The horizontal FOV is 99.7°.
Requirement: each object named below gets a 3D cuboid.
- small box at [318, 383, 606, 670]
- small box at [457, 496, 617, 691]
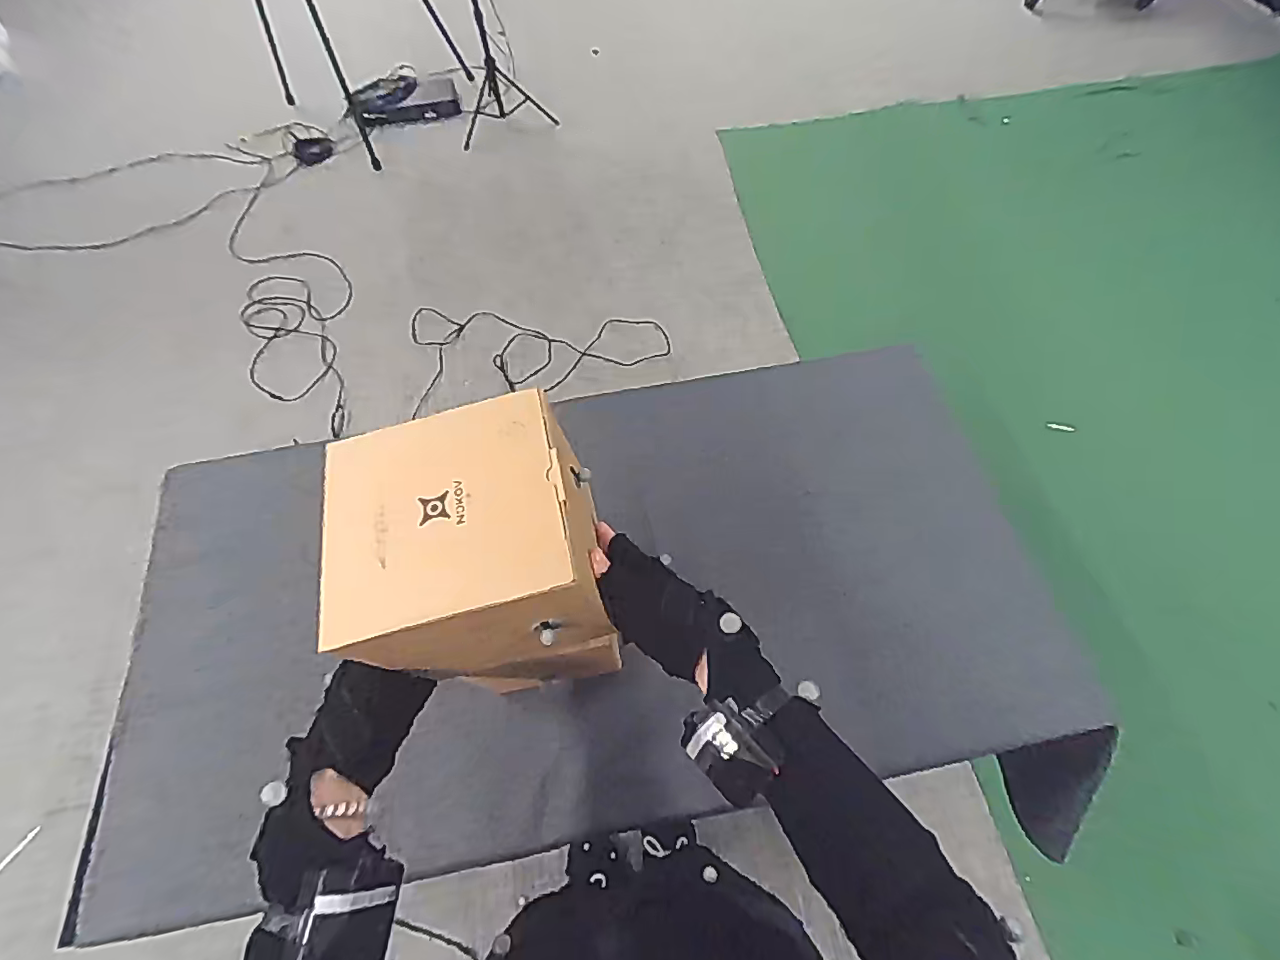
[{"bbox_3d":[-0.132,0.049,0.455,0.179,0.176,0.168,-15,62,1],"label":"small box"},{"bbox_3d":[-0.123,0.142,0.654,0.168,0.176,0.179,-9,62,-3],"label":"small box"}]
